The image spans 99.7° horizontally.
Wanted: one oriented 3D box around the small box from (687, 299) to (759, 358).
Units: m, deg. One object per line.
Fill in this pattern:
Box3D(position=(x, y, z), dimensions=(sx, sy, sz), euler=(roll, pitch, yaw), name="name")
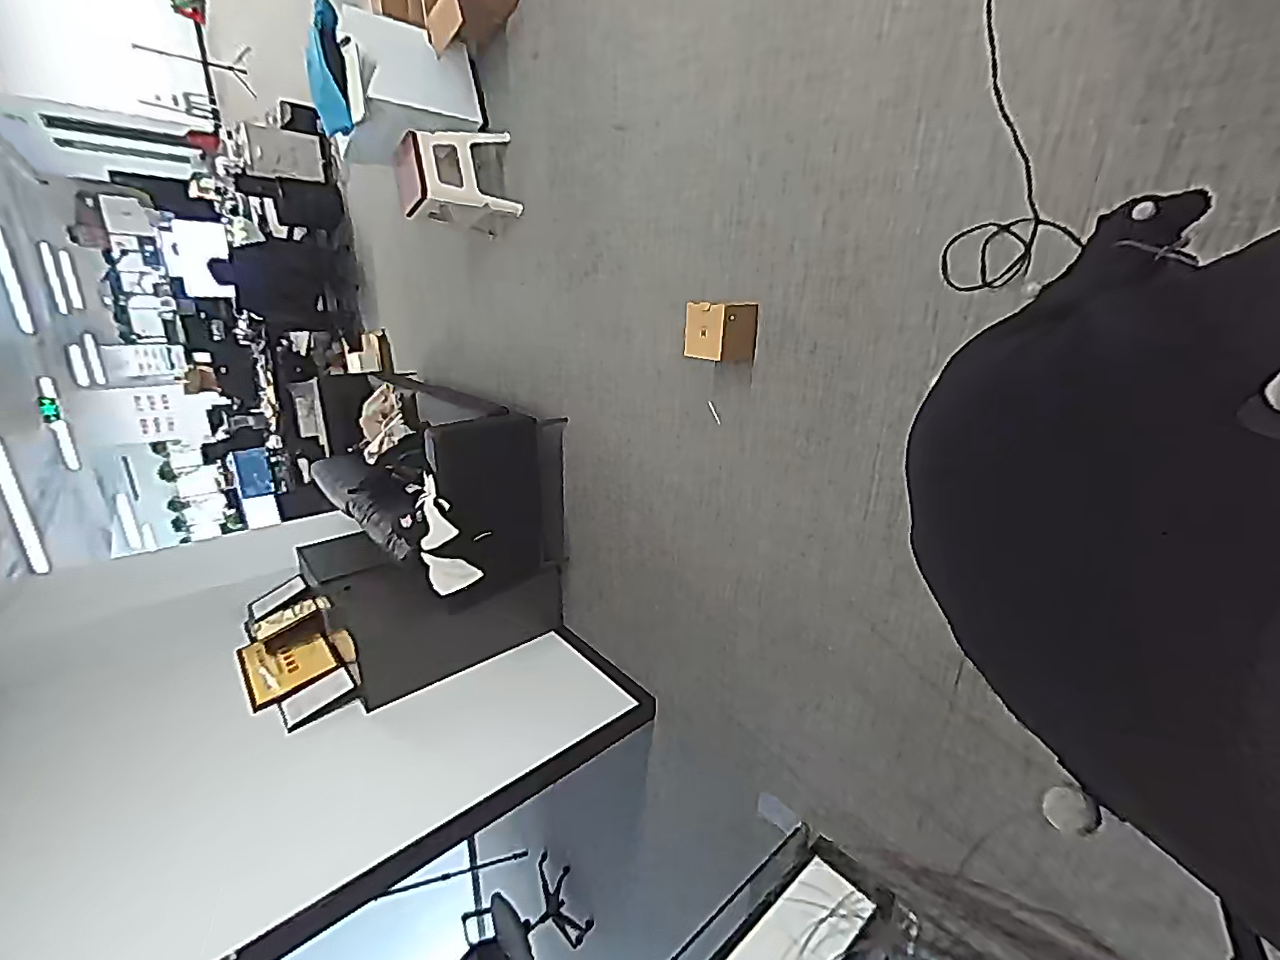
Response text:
Box3D(position=(0.277, -0.508, 1.798), dimensions=(0.168, 0.176, 0.179), euler=(22, 118, 45), name="small box")
